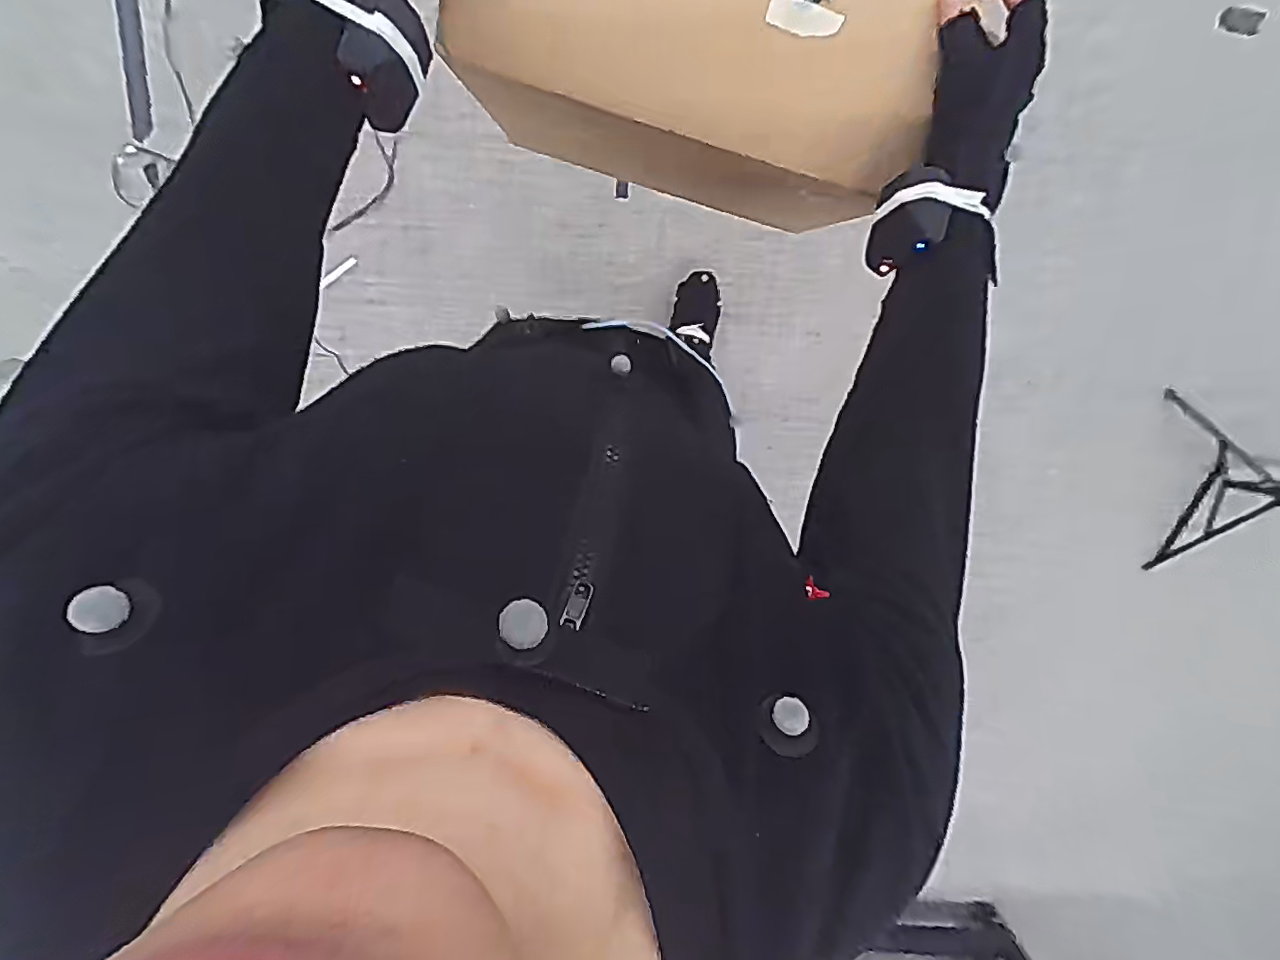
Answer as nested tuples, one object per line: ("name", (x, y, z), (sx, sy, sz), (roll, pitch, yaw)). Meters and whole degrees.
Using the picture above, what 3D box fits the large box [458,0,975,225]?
("large box", (0.072, -0.483, 0.548), (0.408, 0.320, 0.320), (13, 111, -7))
